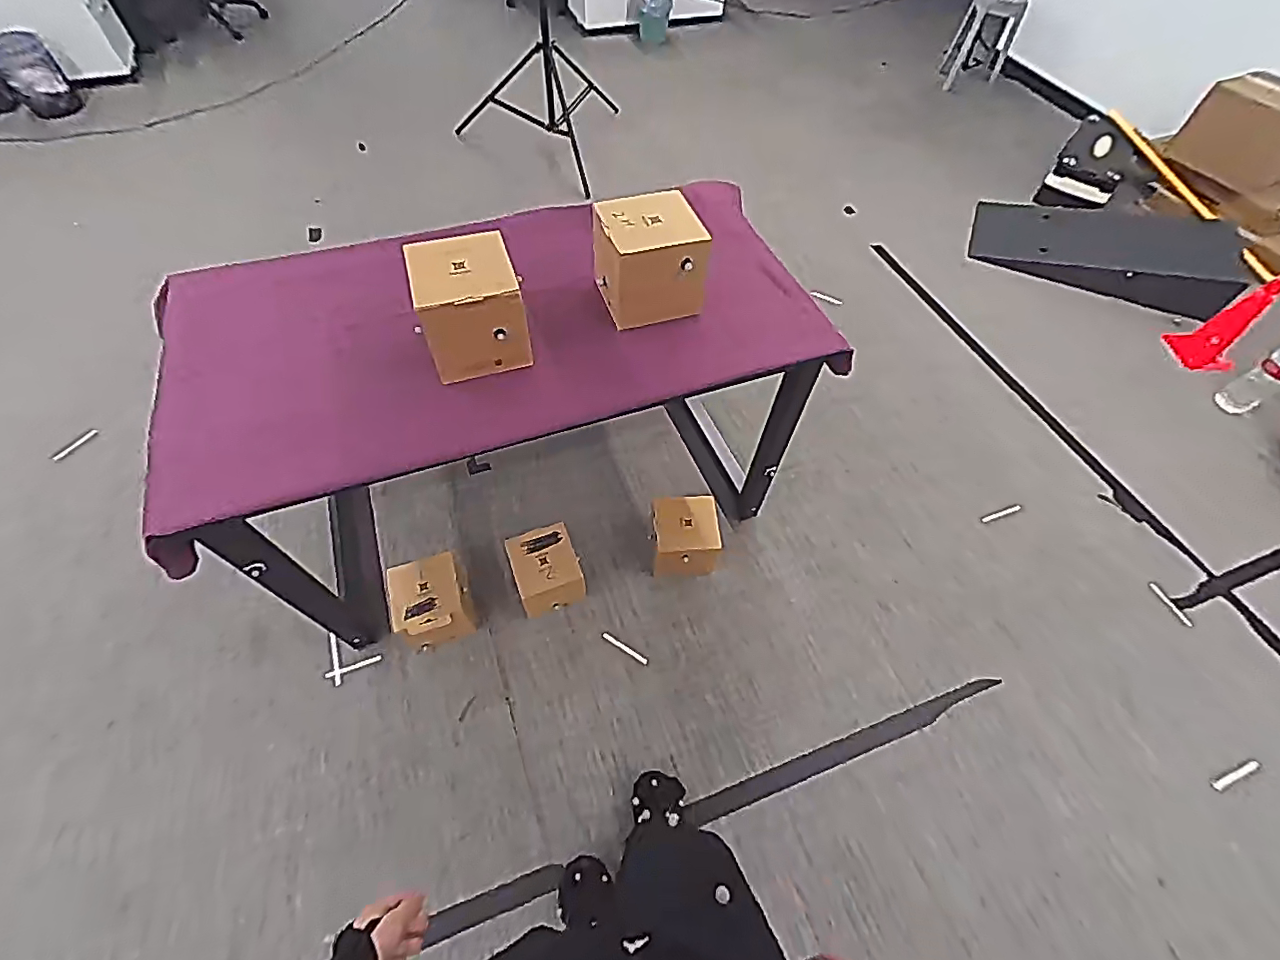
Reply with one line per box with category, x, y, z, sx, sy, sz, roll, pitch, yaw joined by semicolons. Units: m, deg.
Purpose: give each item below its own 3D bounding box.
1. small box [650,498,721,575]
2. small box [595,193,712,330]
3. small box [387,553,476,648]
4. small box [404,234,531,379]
small box;0.122;0.163;1.543;0.179;0.176;0.168;-3;58;-3
small box;0.018;-0.417;1.040;0.179;0.176;0.168;-16;59;-12
small box;-0.538;0.321;1.407;0.168;0.176;0.179;-16;58;-13
small box;-0.296;-0.296;0.950;0.168;0.176;0.179;-15;57;-13
